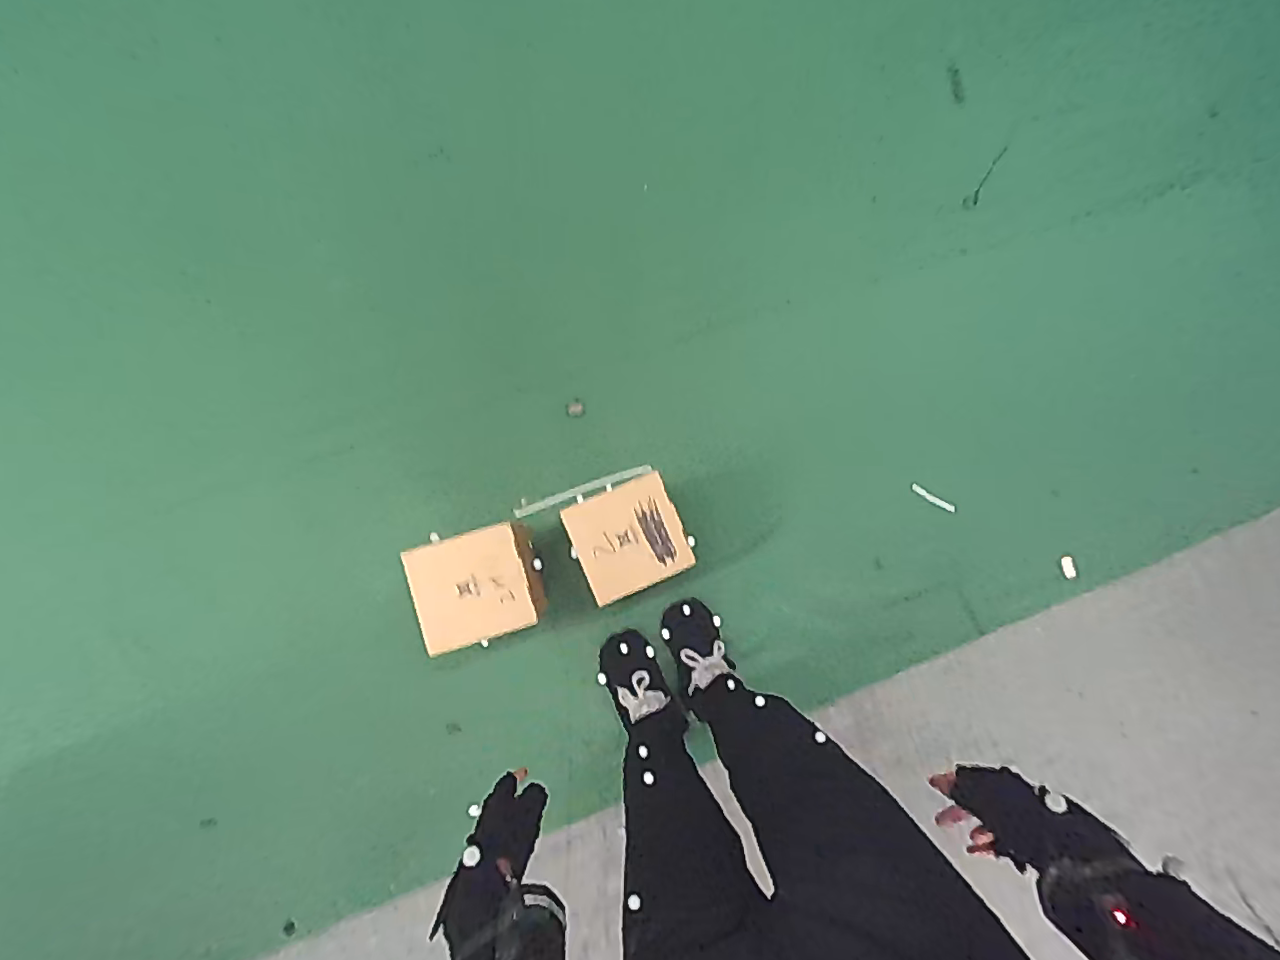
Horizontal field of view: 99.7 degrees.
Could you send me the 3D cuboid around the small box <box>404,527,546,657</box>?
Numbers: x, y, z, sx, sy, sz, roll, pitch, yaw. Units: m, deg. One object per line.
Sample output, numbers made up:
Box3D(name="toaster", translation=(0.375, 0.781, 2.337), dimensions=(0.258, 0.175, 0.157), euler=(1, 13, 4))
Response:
Box3D(name="small box", translation=(-0.270, 0.182, 0.923), dimensions=(0.179, 0.176, 0.168), euler=(-16, 86, -6))
